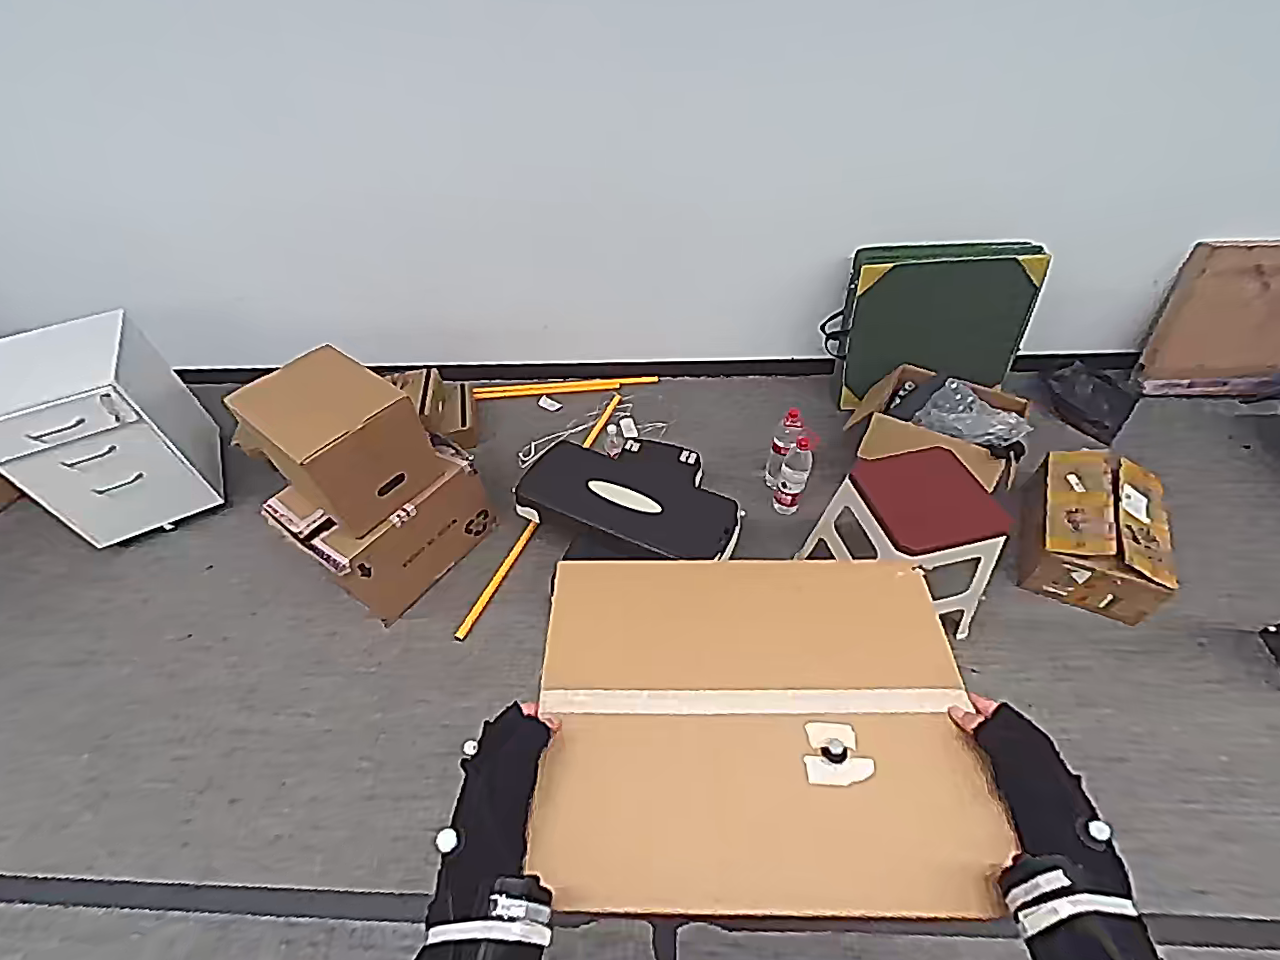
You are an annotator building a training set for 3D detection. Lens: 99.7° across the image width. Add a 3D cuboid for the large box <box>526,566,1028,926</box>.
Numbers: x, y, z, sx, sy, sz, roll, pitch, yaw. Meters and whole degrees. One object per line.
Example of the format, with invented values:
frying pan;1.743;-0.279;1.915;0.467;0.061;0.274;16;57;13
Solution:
large box;0.109;0.314;0.631;0.408;0.320;0.320;0;50;2
